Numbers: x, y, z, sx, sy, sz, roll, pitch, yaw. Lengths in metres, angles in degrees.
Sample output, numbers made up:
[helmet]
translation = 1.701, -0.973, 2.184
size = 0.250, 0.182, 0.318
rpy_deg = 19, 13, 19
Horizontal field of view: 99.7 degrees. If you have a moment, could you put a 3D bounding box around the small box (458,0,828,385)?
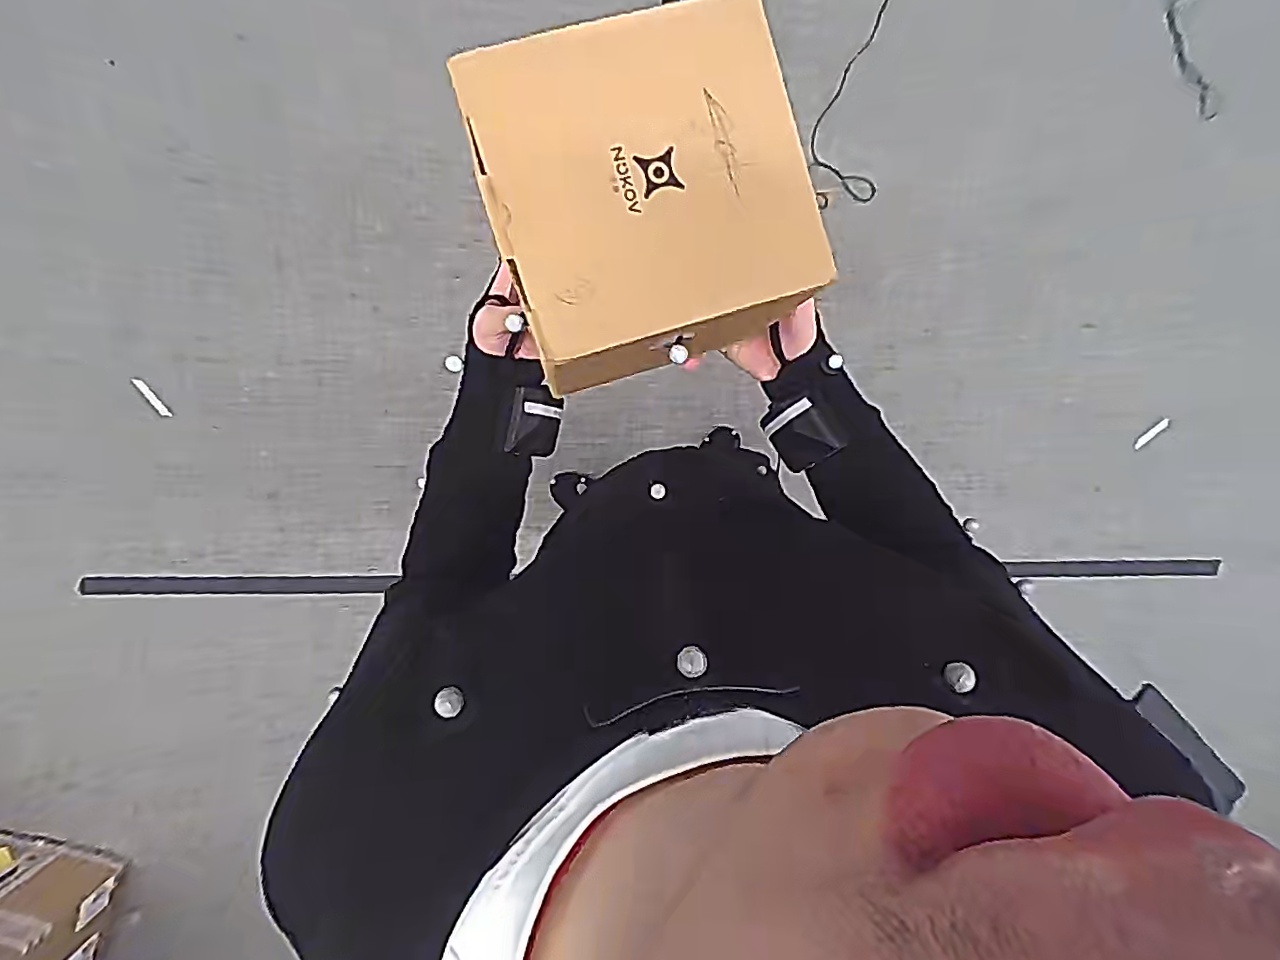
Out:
[small box]
translation = -0.003, -0.174, 0.382
size = 0.179, 0.176, 0.168
rpy_deg = -18, 95, -6
